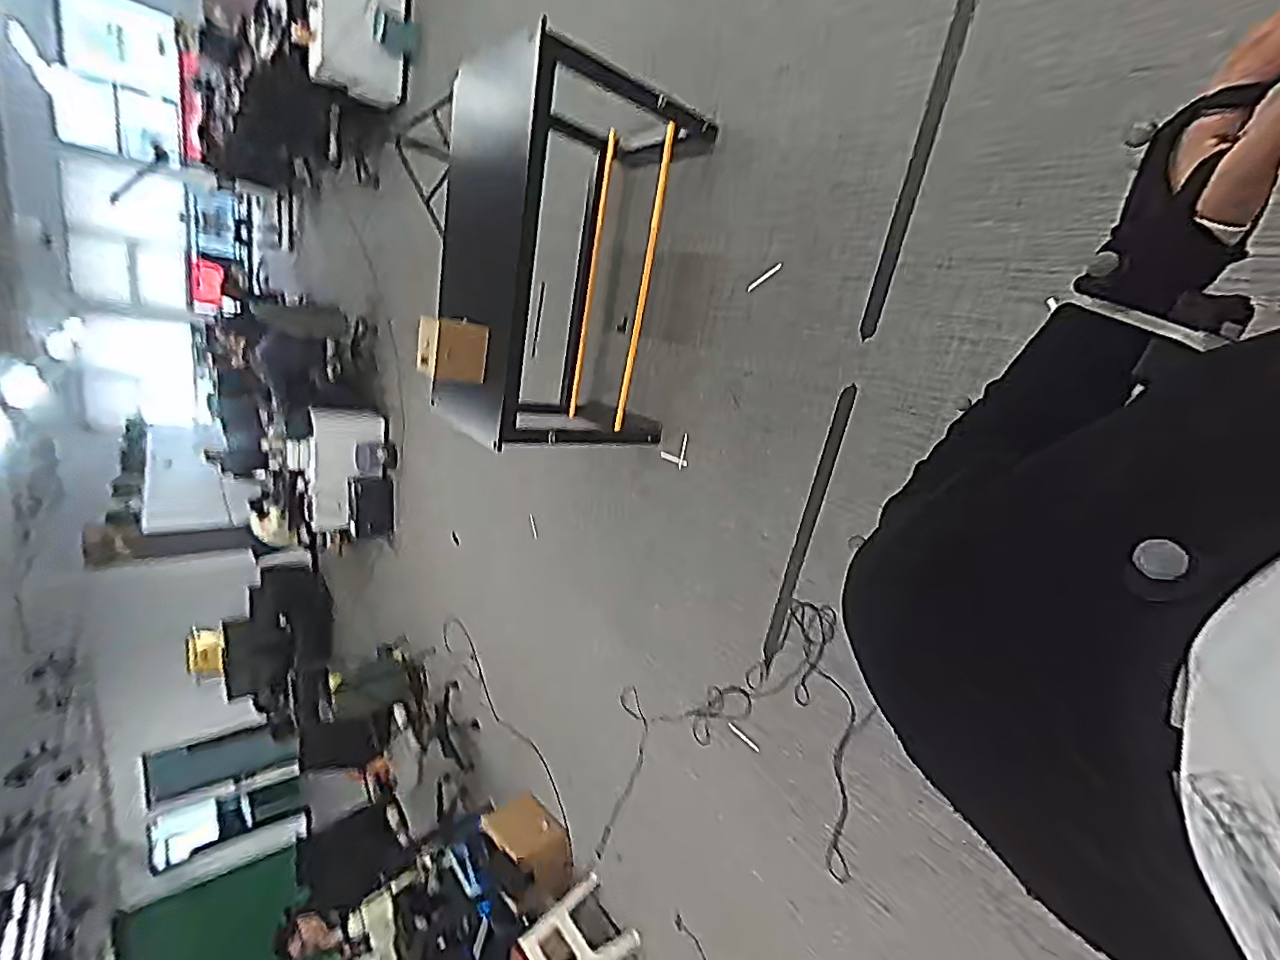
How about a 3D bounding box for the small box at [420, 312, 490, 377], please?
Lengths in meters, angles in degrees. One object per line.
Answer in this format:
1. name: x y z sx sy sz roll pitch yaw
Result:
1. small box: -0.610 -0.443 1.786 0.168 0.176 0.179 29 113 45
